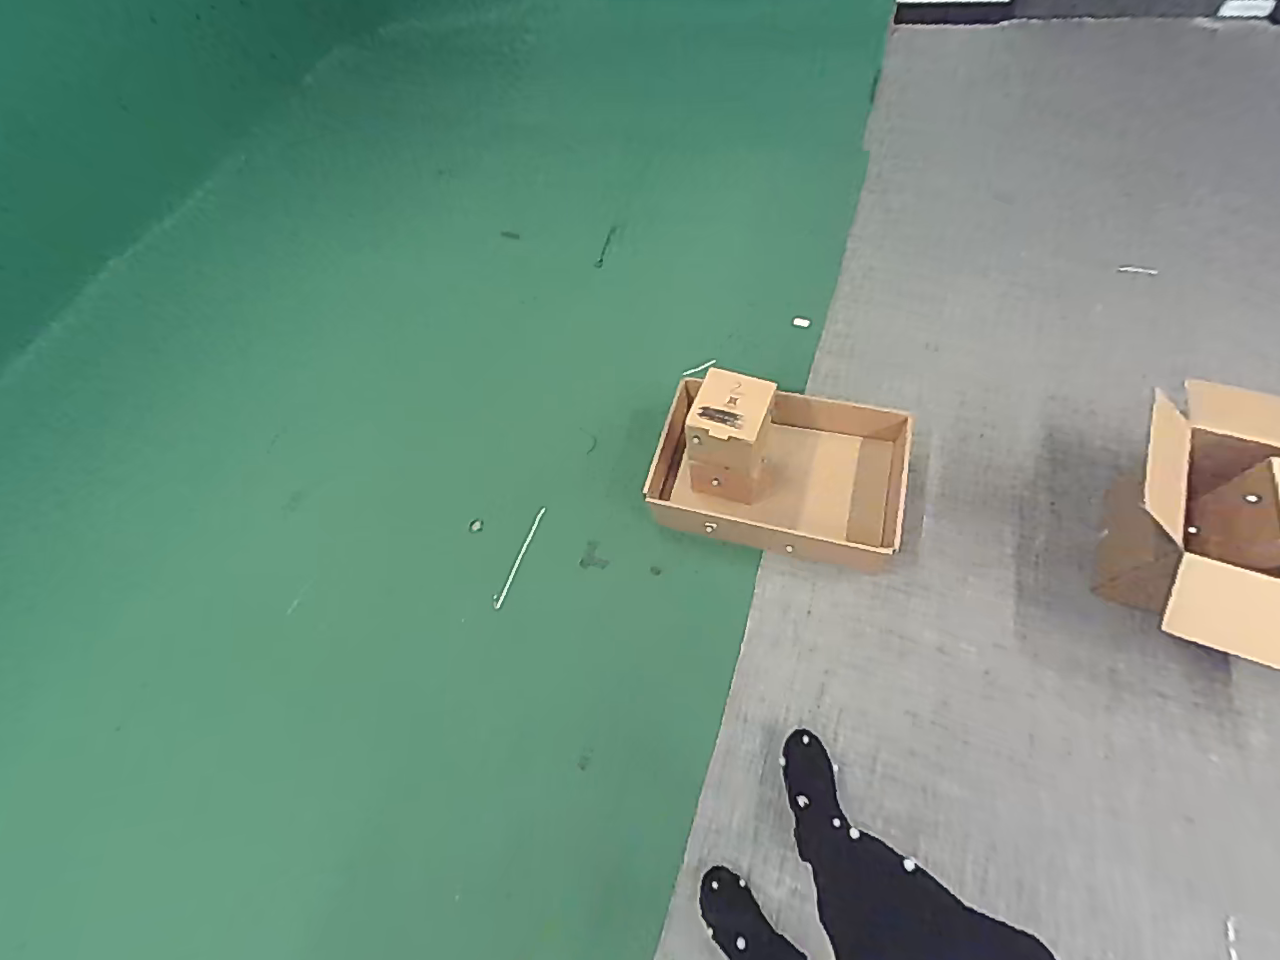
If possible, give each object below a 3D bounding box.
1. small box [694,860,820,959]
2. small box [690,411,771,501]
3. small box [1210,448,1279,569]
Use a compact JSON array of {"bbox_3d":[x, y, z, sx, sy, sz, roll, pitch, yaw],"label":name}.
[{"bbox_3d":[0.225,0.863,1.025,0.176,0.168,0.179,27,42,-6],"label":"small box"},{"bbox_3d":[0.245,-0.061,1.460,0.179,0.176,0.168,13,65,15],"label":"small box"},{"bbox_3d":[1.289,0.064,1.067,0.168,0.176,0.179,11,65,18],"label":"small box"}]
